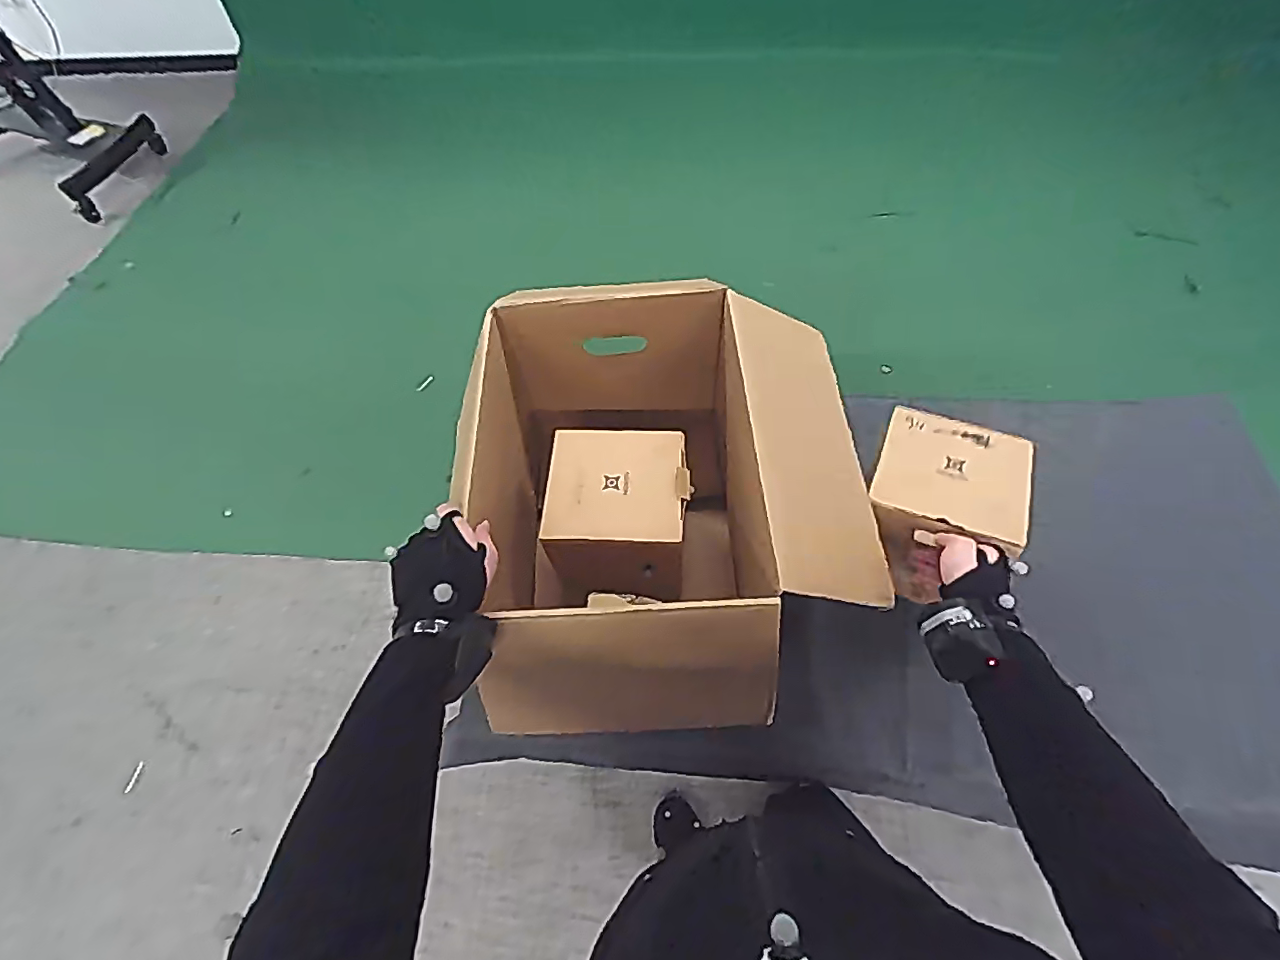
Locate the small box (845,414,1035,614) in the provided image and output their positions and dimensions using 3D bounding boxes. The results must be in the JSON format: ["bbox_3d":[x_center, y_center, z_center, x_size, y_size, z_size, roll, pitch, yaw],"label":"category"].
[{"bbox_3d":[0.387,0.047,0.719,0.168,0.176,0.179,21,55,22],"label":"small box"}]
